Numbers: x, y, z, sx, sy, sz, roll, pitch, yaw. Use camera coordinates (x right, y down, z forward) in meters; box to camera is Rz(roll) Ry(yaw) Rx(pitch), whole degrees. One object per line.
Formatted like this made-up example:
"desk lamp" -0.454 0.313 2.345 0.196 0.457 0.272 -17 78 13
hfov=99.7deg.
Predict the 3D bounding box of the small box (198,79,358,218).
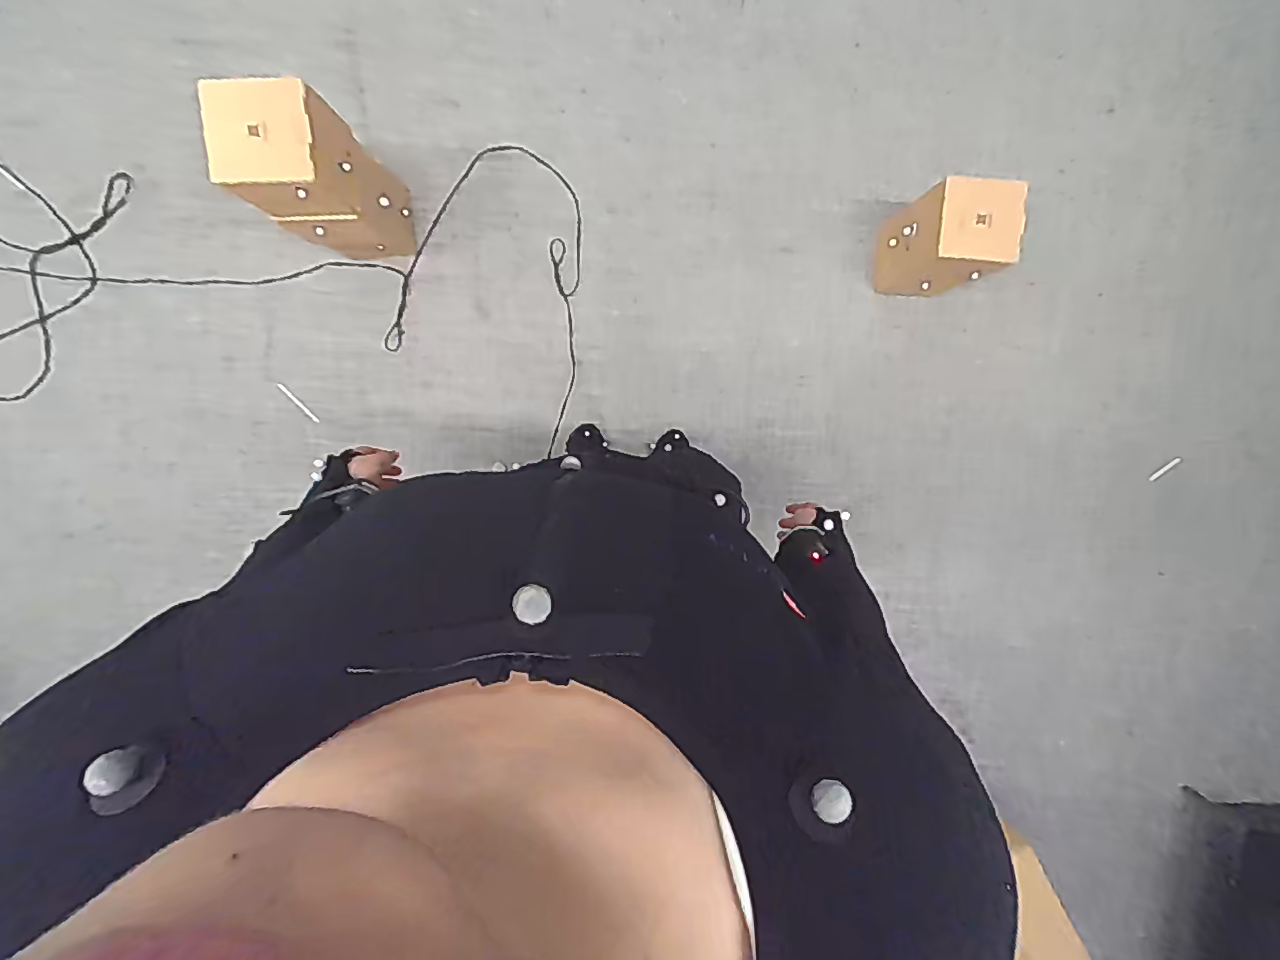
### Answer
"small box" -0.652 -0.596 0.992 0.179 0.176 0.168 -3 97 -2

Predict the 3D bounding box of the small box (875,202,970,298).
"small box" 0.712 -0.573 1.361 0.168 0.176 0.179 3 96 -2

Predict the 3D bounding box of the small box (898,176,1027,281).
"small box" 0.706 -0.548 1.200 0.179 0.176 0.168 3 95 -1

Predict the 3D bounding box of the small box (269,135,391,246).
"small box" -0.660 -0.609 1.154 0.179 0.176 0.168 -2 97 -2

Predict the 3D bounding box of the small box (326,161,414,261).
"small box" -0.668 -0.646 1.314 0.179 0.176 0.168 -6 96 0
